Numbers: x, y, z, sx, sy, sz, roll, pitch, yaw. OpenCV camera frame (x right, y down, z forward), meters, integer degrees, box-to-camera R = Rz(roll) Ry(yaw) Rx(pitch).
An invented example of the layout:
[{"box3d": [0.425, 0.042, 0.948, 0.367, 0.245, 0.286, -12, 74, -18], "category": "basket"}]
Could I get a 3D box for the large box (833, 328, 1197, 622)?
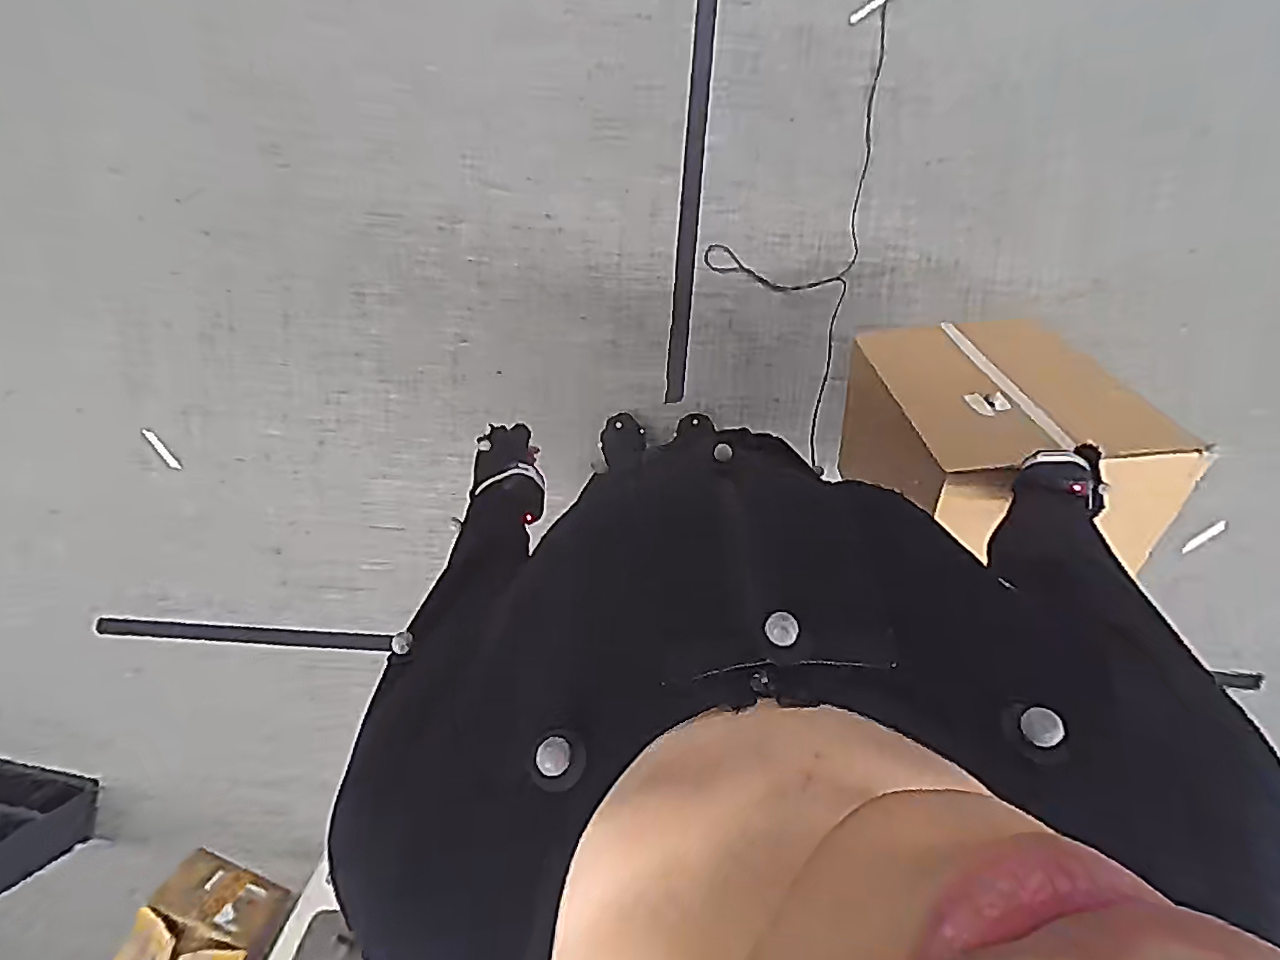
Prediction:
[{"box3d": [0.556, -0.020, 0.927, 0.320, 0.408, 0.320, -6, 130, 5], "category": "large box"}]
